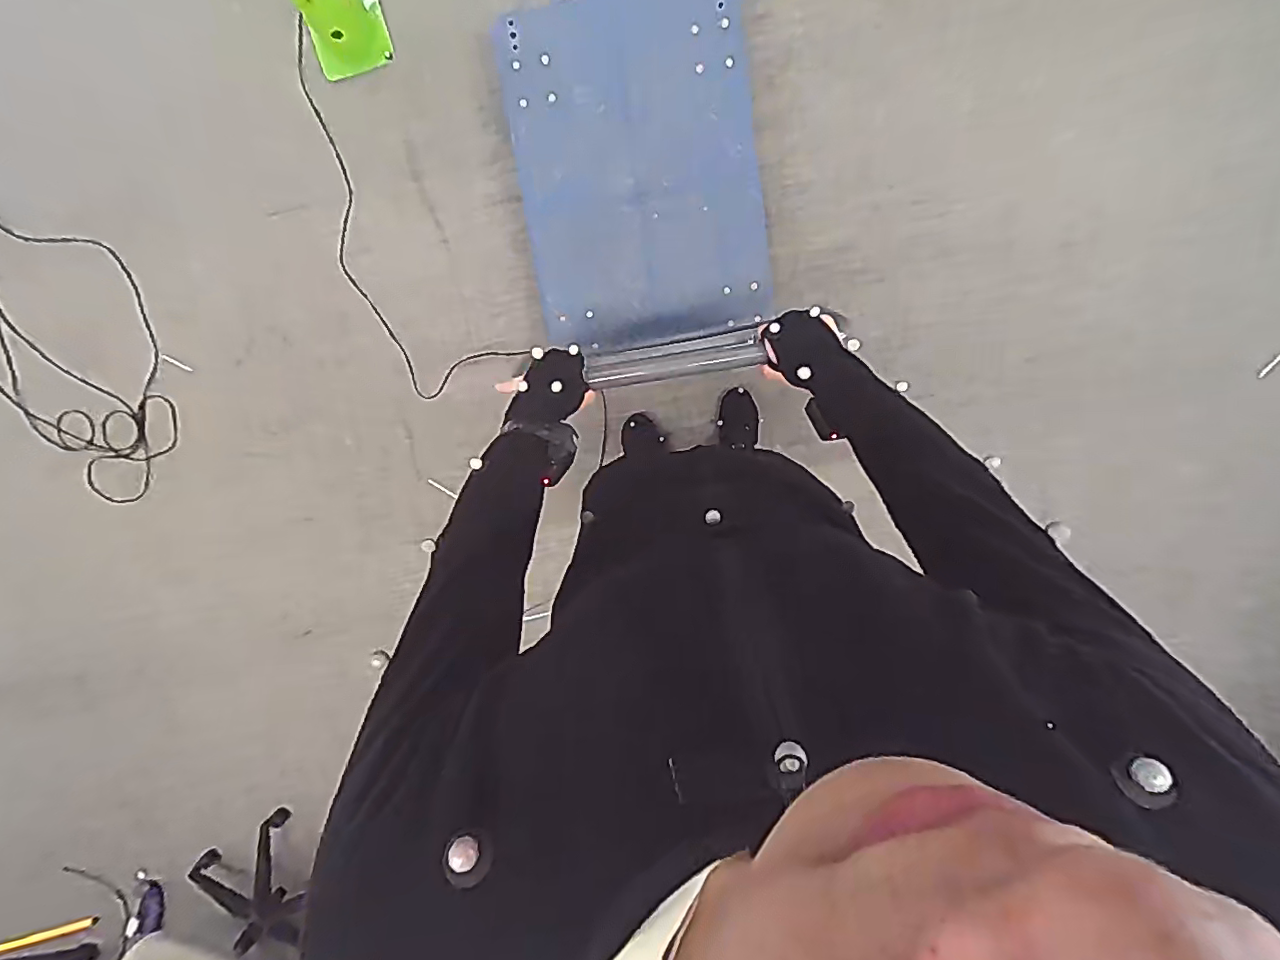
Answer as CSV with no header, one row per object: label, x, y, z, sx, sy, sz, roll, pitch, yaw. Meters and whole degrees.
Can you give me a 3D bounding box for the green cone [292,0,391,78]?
green cone,-0.771,-1.137,1.228,0.202,0.368,0.200,-14,101,7
